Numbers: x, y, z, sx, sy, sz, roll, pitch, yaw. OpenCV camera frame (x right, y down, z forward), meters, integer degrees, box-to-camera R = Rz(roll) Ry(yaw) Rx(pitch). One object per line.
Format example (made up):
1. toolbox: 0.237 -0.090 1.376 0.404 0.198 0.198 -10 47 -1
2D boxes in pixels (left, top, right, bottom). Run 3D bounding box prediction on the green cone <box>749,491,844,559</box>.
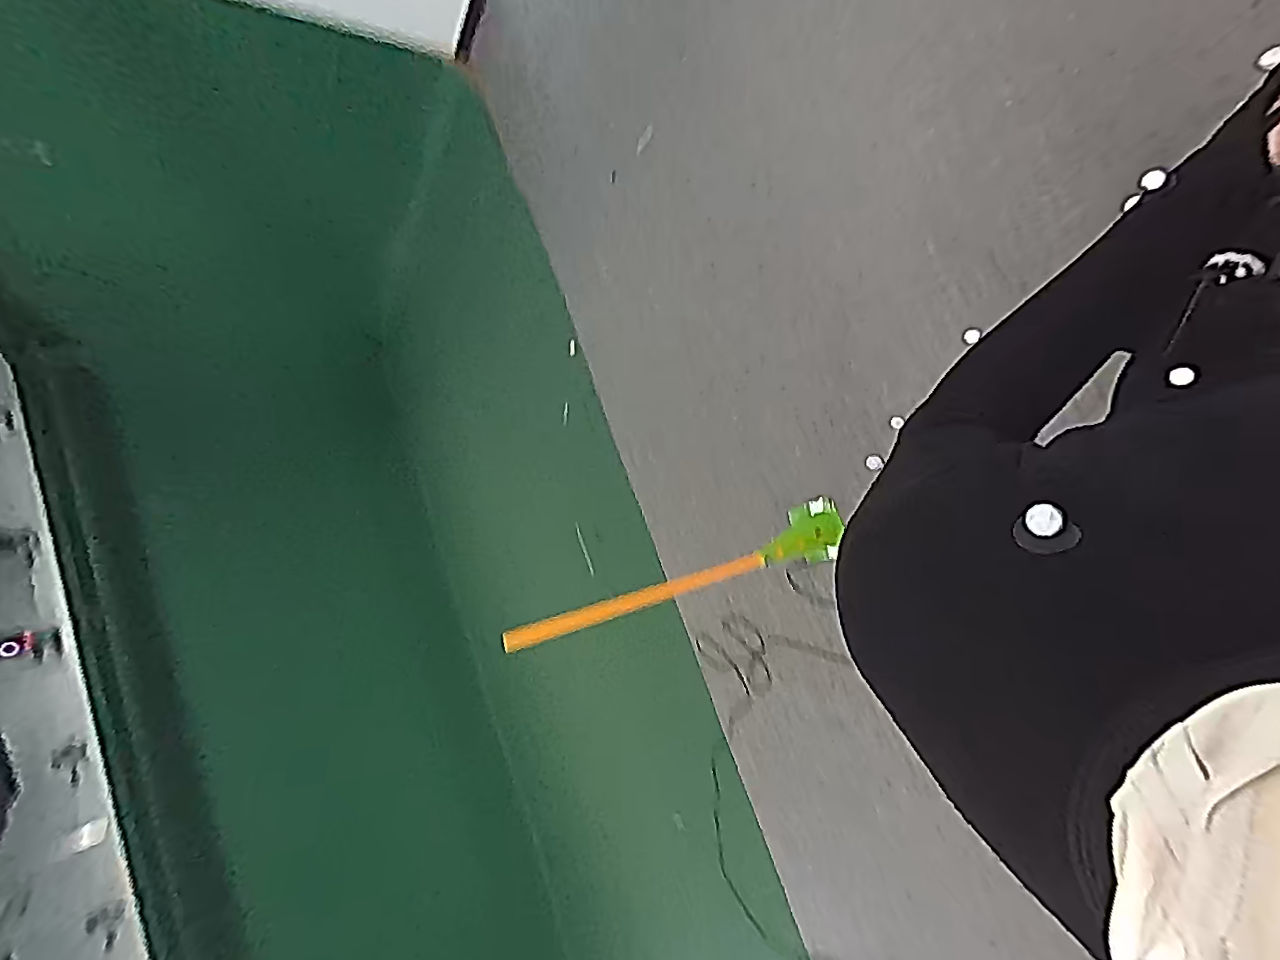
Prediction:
1. green cone: 0.496 0.191 1.851 0.200 0.368 0.202 -28 82 51
